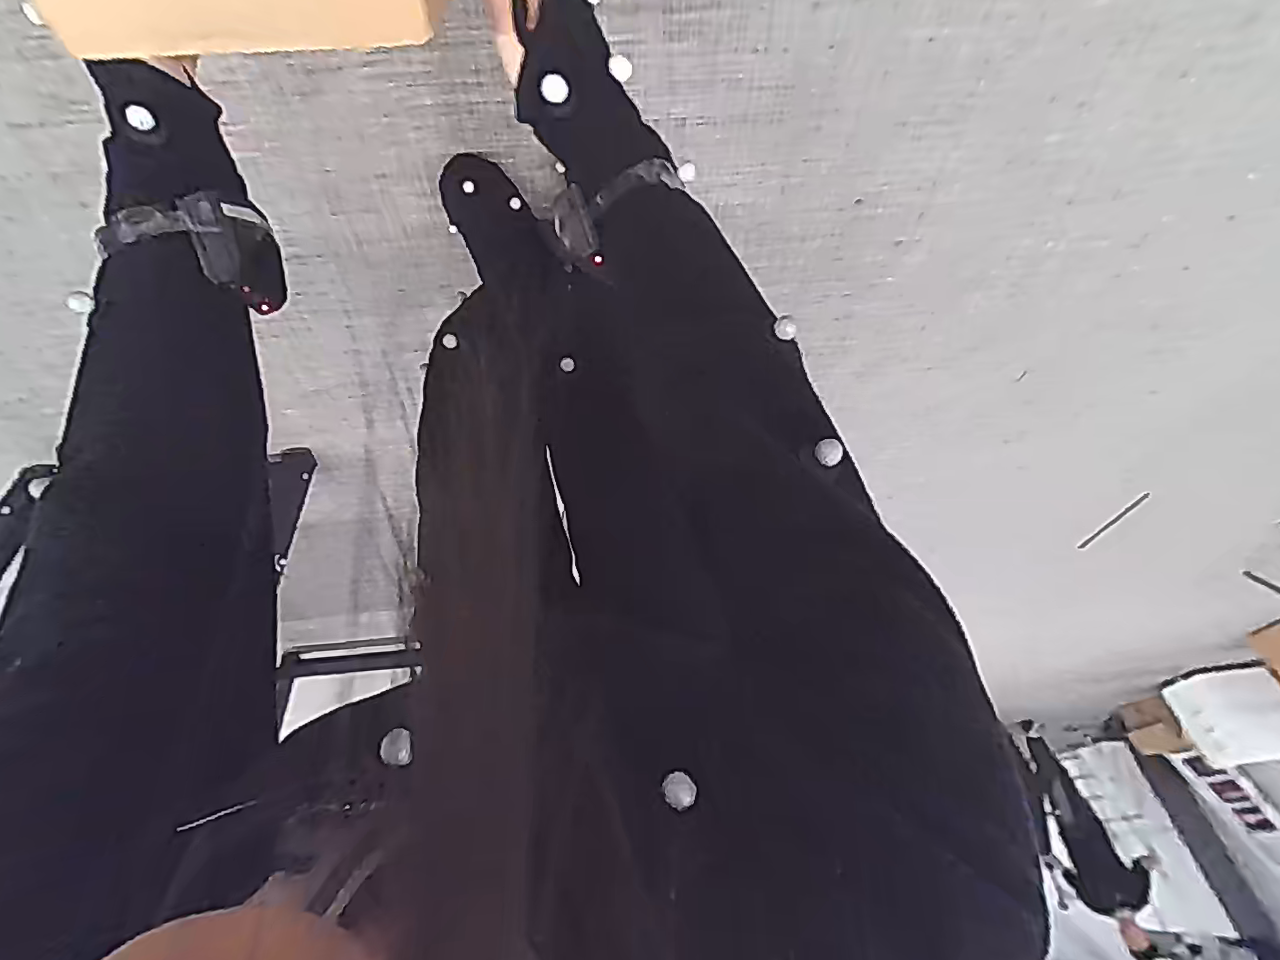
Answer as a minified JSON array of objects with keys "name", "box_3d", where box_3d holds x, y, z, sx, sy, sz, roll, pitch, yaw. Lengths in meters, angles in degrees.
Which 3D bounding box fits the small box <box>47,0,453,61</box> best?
[{"name":"small box","box_3d":[-0.193,-0.325,0.253,0.179,0.176,0.168,-5,142,-3]}]

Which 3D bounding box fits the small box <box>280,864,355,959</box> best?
[{"name":"small box","box_3d":[-0.759,0.967,1.203,0.179,0.176,0.168,-5,143,-3]}]
